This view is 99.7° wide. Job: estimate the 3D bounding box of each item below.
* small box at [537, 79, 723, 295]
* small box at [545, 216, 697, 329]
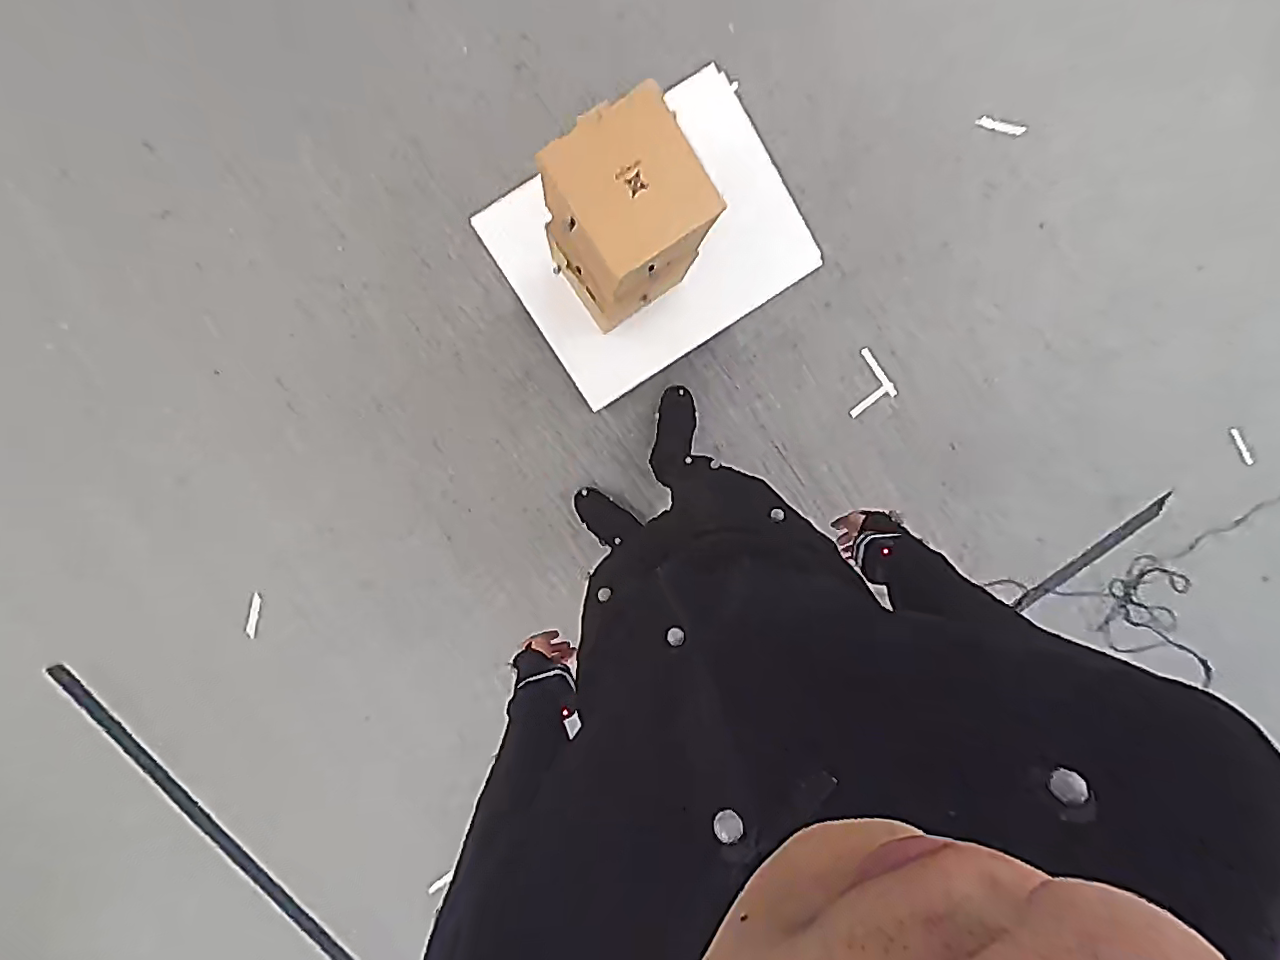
[{"bbox_3d":[-0.015,-0.371,0.729,0.168,0.176,0.179,-34,98,-1],"label":"small box"},{"bbox_3d":[-0.033,-0.372,0.891,0.179,0.176,0.168,-36,99,-2],"label":"small box"}]
